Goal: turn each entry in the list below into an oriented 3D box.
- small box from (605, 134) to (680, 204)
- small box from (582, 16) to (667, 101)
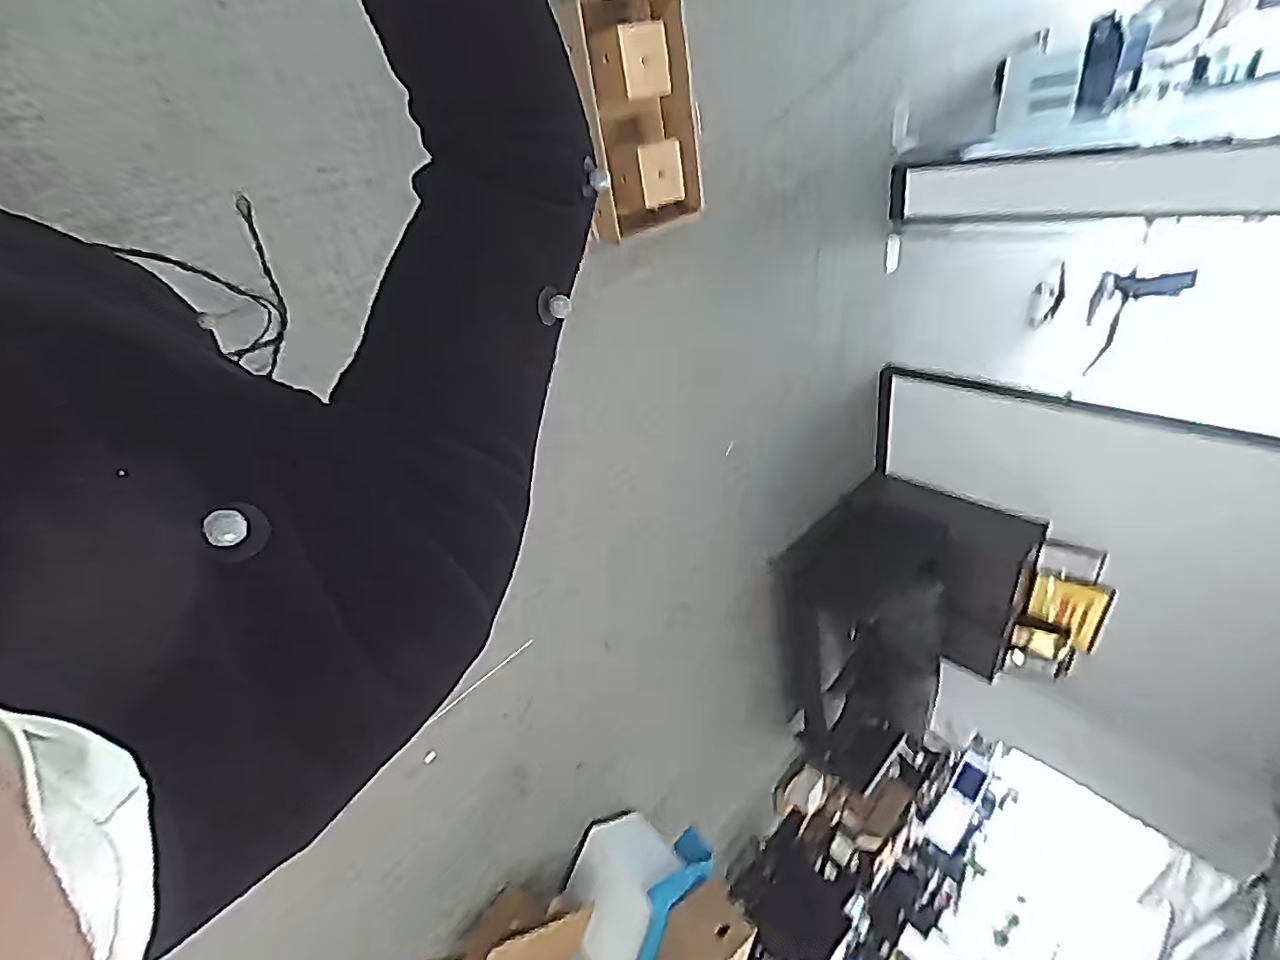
[{"bbox_3d":[0.003,-0.997,1.739,0.179,0.176,0.168,-33,129,-29],"label":"small box"},{"bbox_3d":[-0.050,-1.227,1.578,0.179,0.176,0.168,-34,130,-29],"label":"small box"}]
